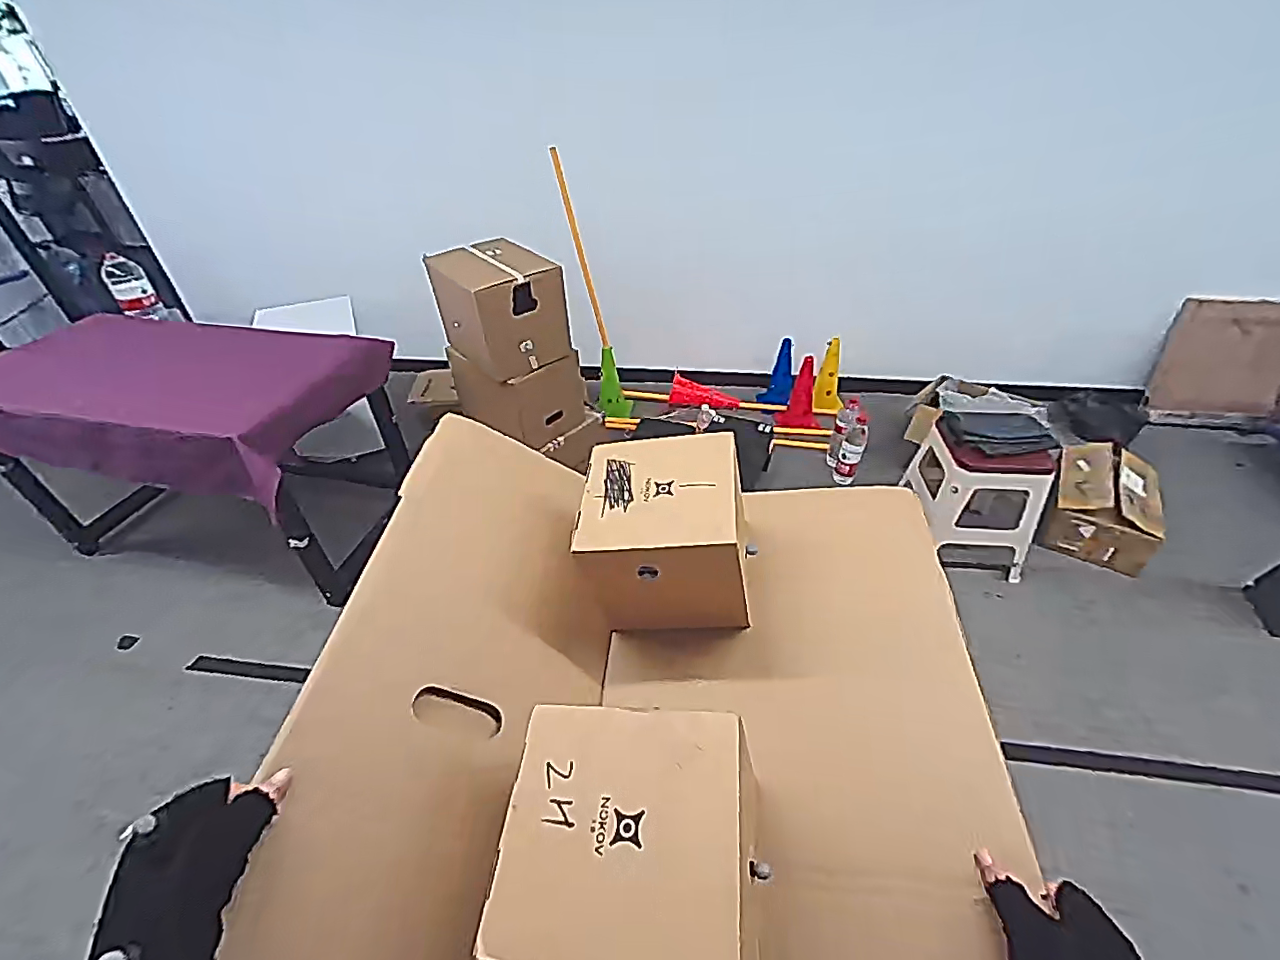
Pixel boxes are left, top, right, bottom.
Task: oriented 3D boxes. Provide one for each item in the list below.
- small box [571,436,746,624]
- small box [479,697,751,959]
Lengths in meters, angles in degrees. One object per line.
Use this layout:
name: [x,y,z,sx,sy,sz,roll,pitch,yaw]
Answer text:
small box: [0.034,0.068,0.672,0.179,0.176,0.168,-5,46,13]
small box: [0.001,0.300,0.456,0.179,0.176,0.168,-3,46,15]
